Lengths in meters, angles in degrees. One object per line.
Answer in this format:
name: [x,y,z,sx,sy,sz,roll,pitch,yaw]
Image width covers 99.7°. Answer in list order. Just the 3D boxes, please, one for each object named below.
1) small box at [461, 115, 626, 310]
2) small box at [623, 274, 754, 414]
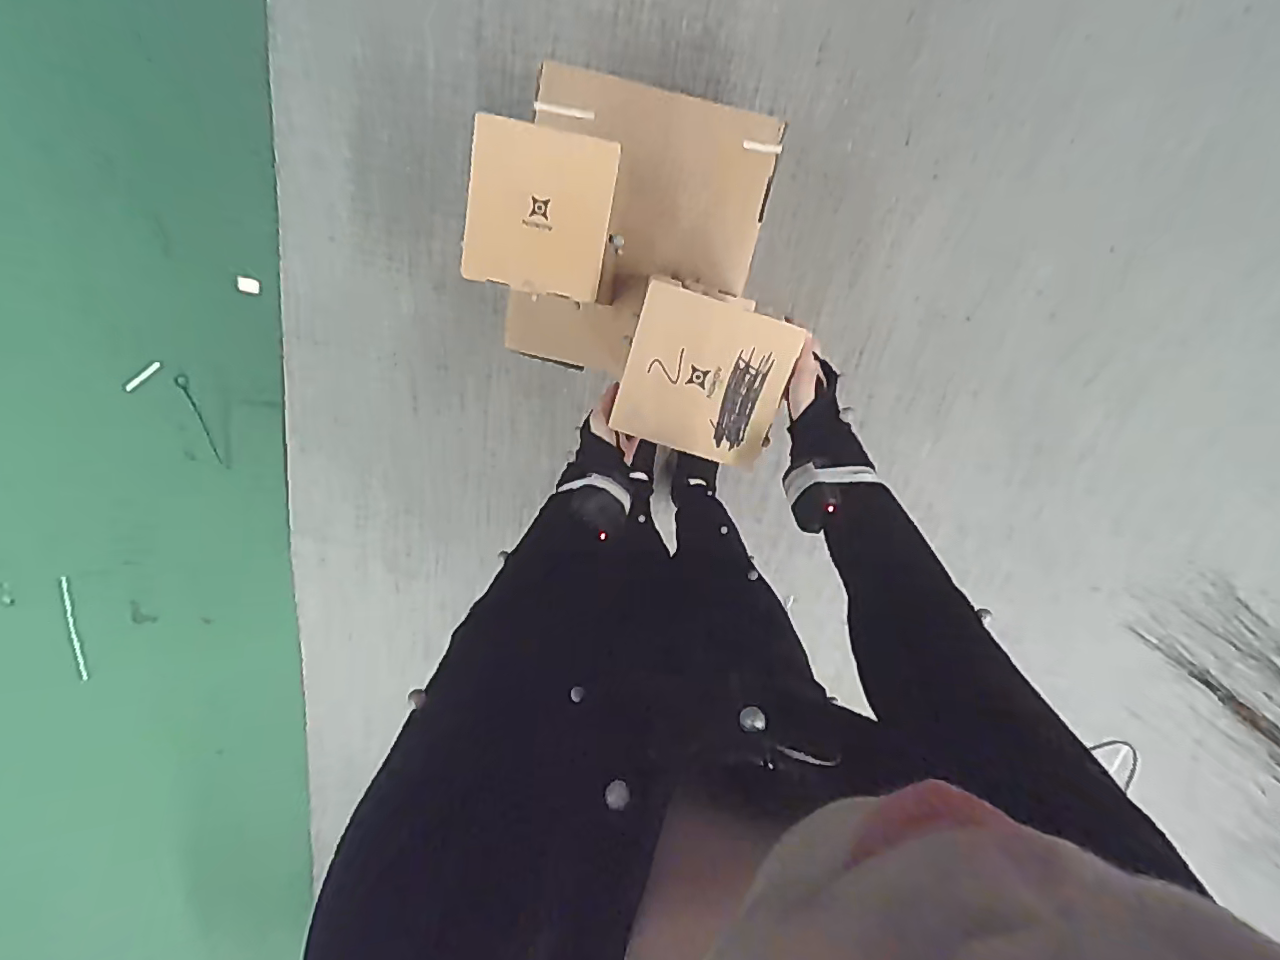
small box: [-0.115,-0.329,0.699,0.168,0.176,0.179,12,108,-3]
small box: [0.071,-0.226,0.897,0.168,0.176,0.179,14,106,-4]
